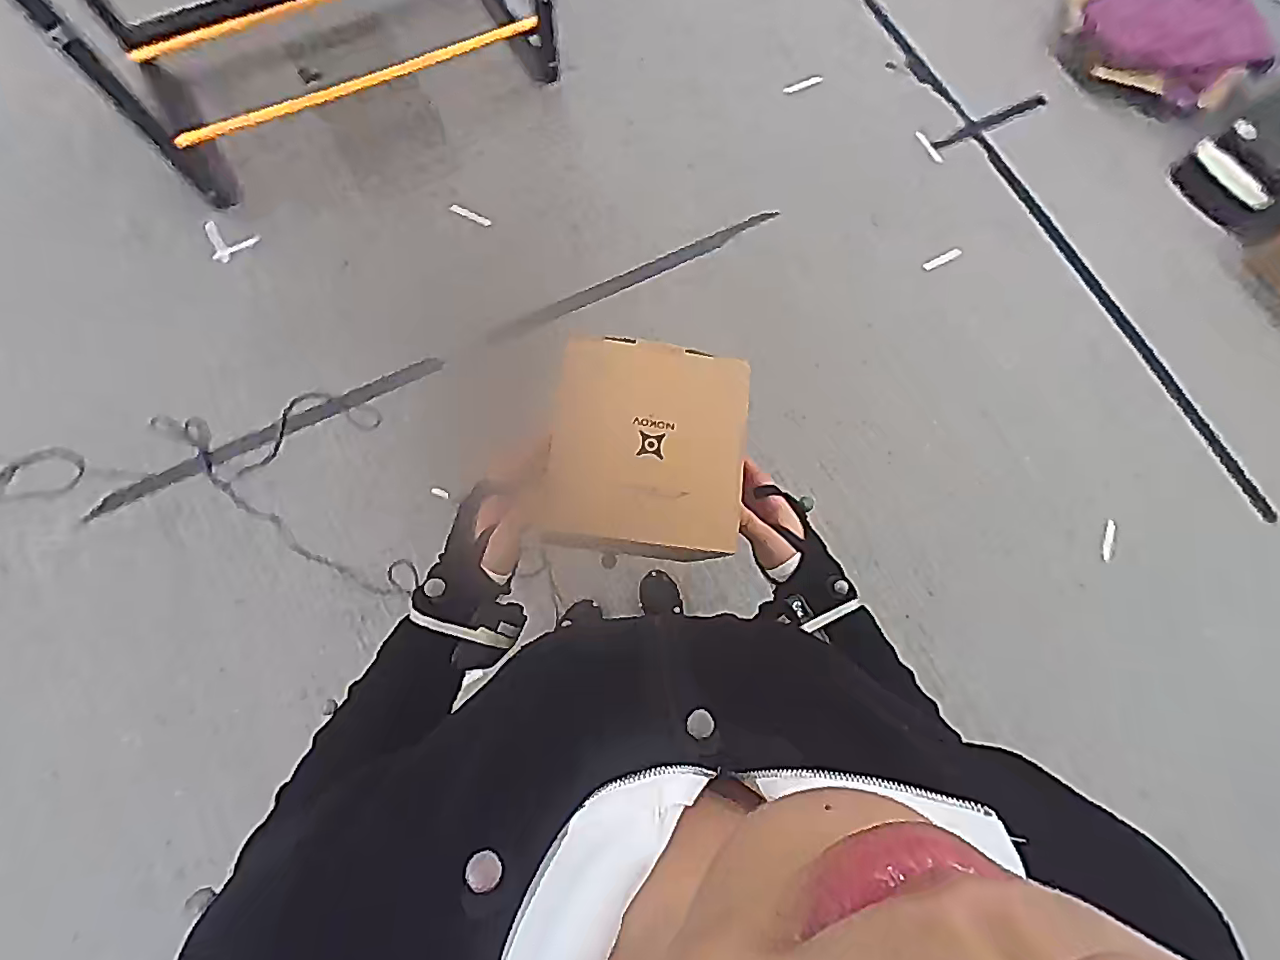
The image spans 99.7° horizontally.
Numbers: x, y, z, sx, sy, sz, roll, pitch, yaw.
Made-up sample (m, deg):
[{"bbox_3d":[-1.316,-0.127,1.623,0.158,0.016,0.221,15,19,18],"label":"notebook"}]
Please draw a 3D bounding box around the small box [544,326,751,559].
[{"bbox_3d":[0.000,-0.022,0.528,0.168,0.176,0.179,6,78,-6],"label":"small box"}]
